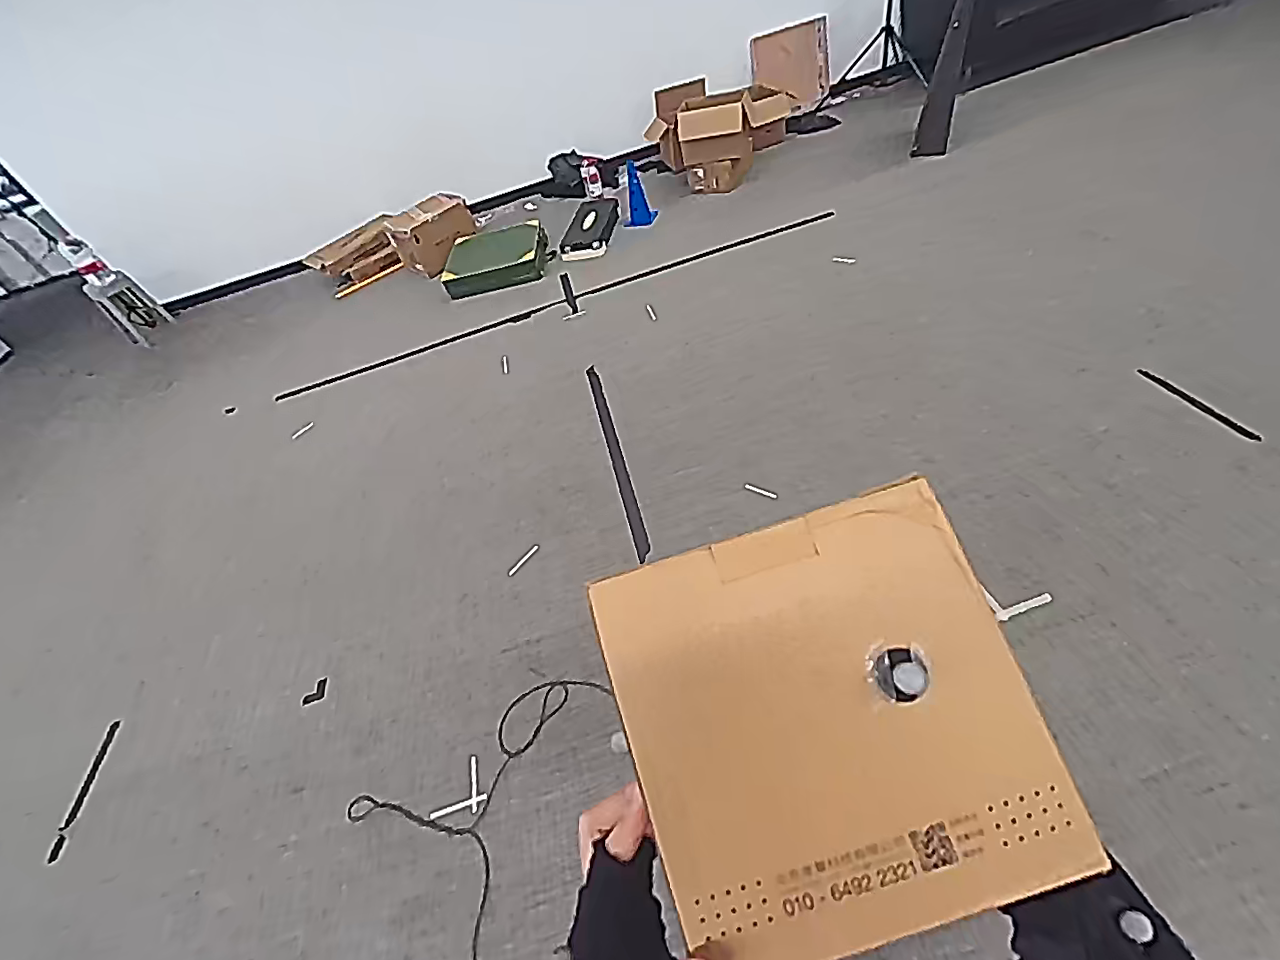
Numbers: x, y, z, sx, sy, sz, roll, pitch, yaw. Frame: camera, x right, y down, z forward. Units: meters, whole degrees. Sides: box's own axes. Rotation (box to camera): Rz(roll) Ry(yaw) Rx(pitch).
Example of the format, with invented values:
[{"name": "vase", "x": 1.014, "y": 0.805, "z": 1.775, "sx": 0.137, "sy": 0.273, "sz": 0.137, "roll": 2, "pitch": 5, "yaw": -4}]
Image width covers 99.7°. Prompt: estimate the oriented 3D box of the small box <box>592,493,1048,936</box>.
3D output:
[{"name": "small box", "x": 0.086, "y": 0.127, "z": 0.323, "sx": 0.168, "sy": 0.179, "sz": 0.176, "roll": -18, "pitch": 75, "yaw": 2}]
